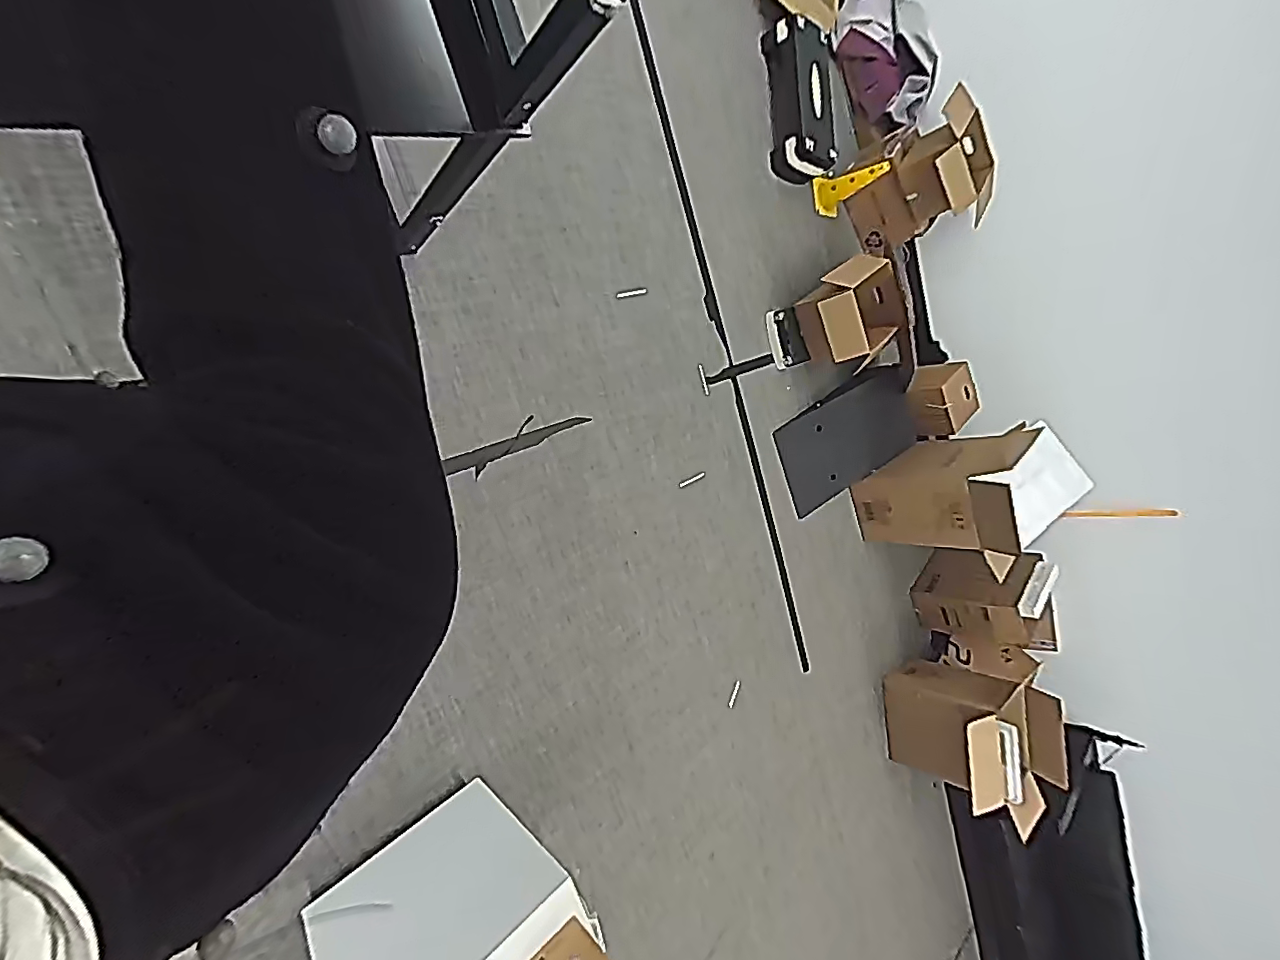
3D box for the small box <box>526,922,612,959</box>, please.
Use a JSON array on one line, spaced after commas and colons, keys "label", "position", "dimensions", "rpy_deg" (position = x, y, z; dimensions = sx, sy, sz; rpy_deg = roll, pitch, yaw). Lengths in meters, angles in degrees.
[{"label": "small box", "position": [-0.146, 1.107, 1.158], "dimensions": [0.168, 0.176, 0.179], "rpy_deg": [-26, 106, -36]}]
